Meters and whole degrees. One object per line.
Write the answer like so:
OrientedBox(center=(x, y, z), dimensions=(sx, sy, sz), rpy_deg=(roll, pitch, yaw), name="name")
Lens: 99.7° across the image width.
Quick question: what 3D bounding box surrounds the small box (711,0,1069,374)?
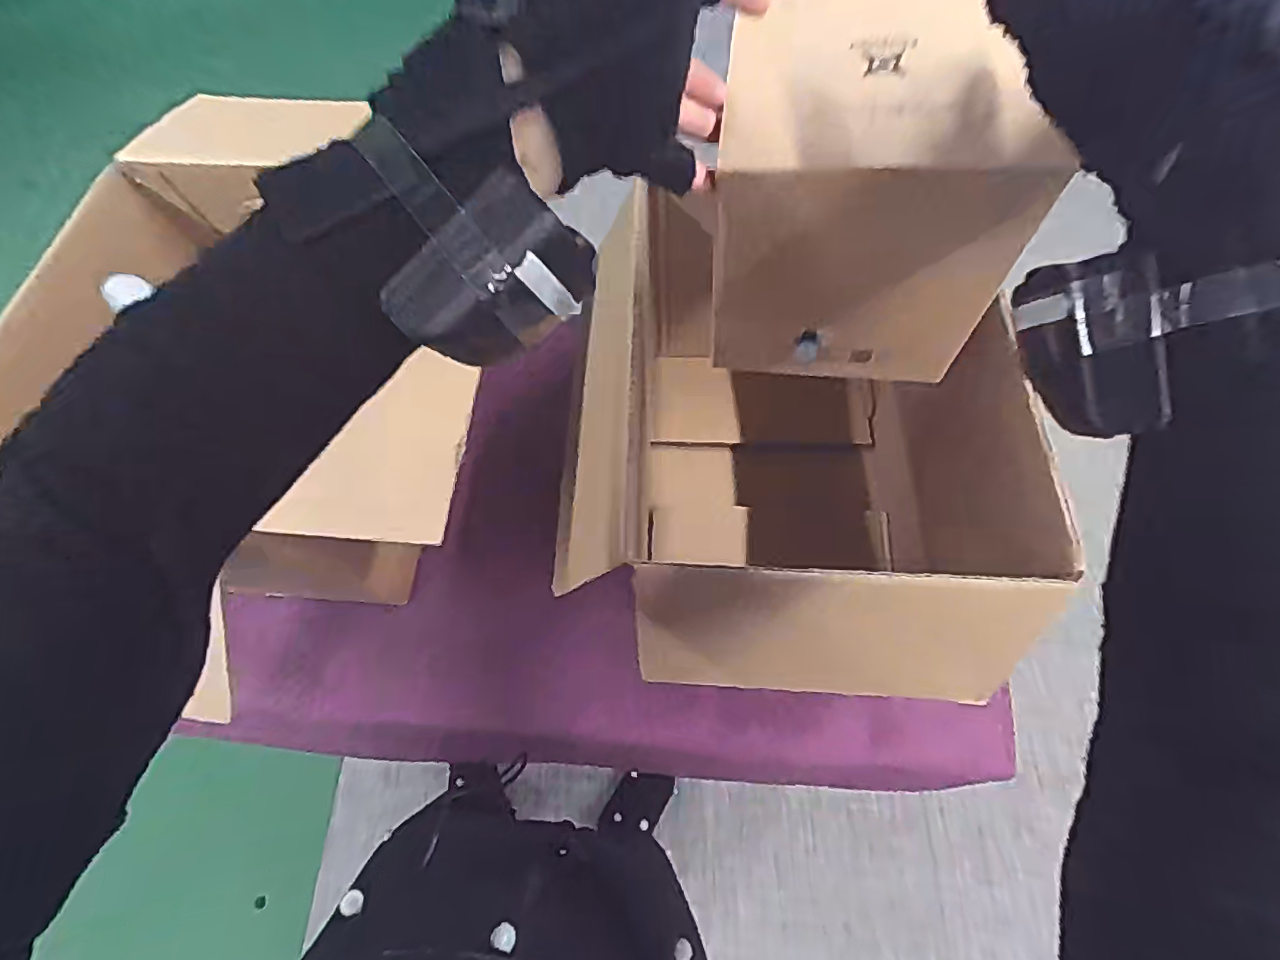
OrientedBox(center=(0.137, -0.196, 0.365), dimensions=(0.168, 0.176, 0.179), rpy_deg=(5, 66, 10), name="small box")
